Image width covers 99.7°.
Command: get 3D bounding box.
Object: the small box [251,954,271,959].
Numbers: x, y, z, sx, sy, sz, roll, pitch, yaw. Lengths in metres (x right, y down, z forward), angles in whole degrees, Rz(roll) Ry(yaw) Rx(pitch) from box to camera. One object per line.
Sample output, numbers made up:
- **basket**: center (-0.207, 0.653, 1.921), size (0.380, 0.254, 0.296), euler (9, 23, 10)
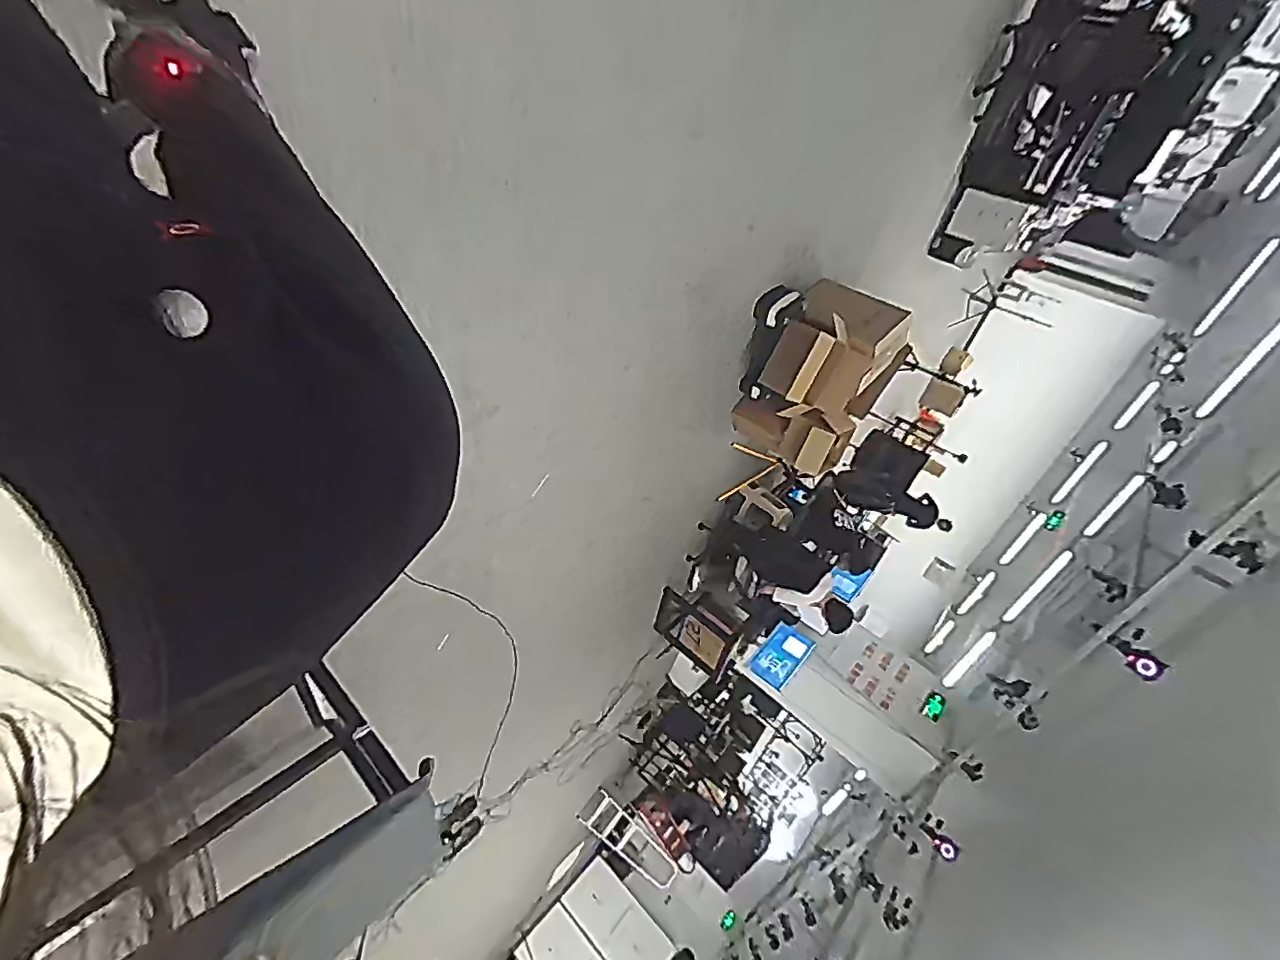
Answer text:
- **small box**: center (-0.965, 1.321, 1.314), size (0.179, 0.176, 0.168), euler (-33, 146, -36)
